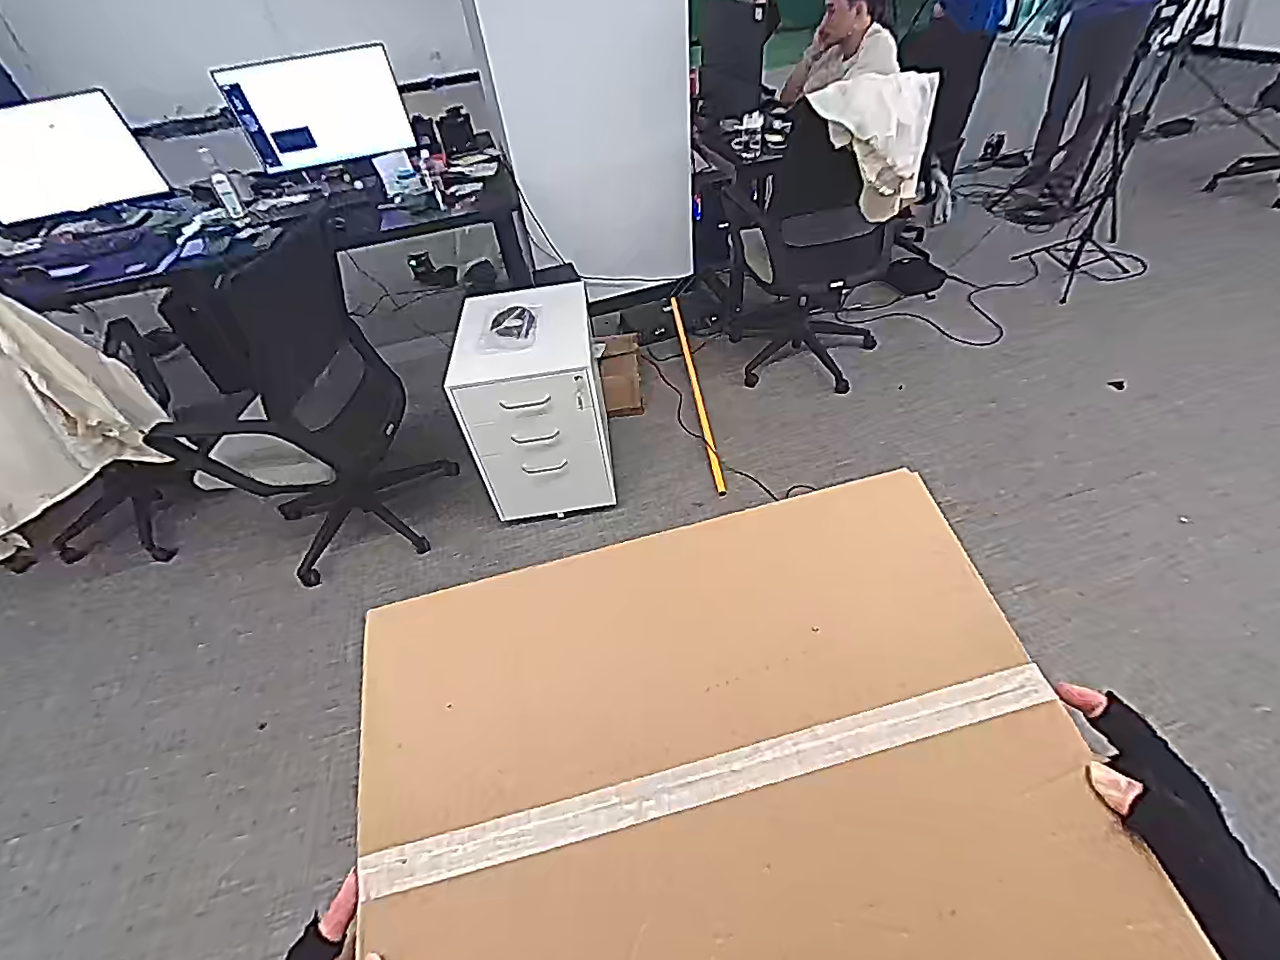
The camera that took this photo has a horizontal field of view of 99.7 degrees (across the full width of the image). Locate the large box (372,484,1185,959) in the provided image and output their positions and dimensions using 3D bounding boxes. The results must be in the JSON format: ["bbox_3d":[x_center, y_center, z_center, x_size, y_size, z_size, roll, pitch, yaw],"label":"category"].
[{"bbox_3d":[0.056,0.253,0.443,0.408,0.320,0.320,-15,58,-2],"label":"large box"}]
